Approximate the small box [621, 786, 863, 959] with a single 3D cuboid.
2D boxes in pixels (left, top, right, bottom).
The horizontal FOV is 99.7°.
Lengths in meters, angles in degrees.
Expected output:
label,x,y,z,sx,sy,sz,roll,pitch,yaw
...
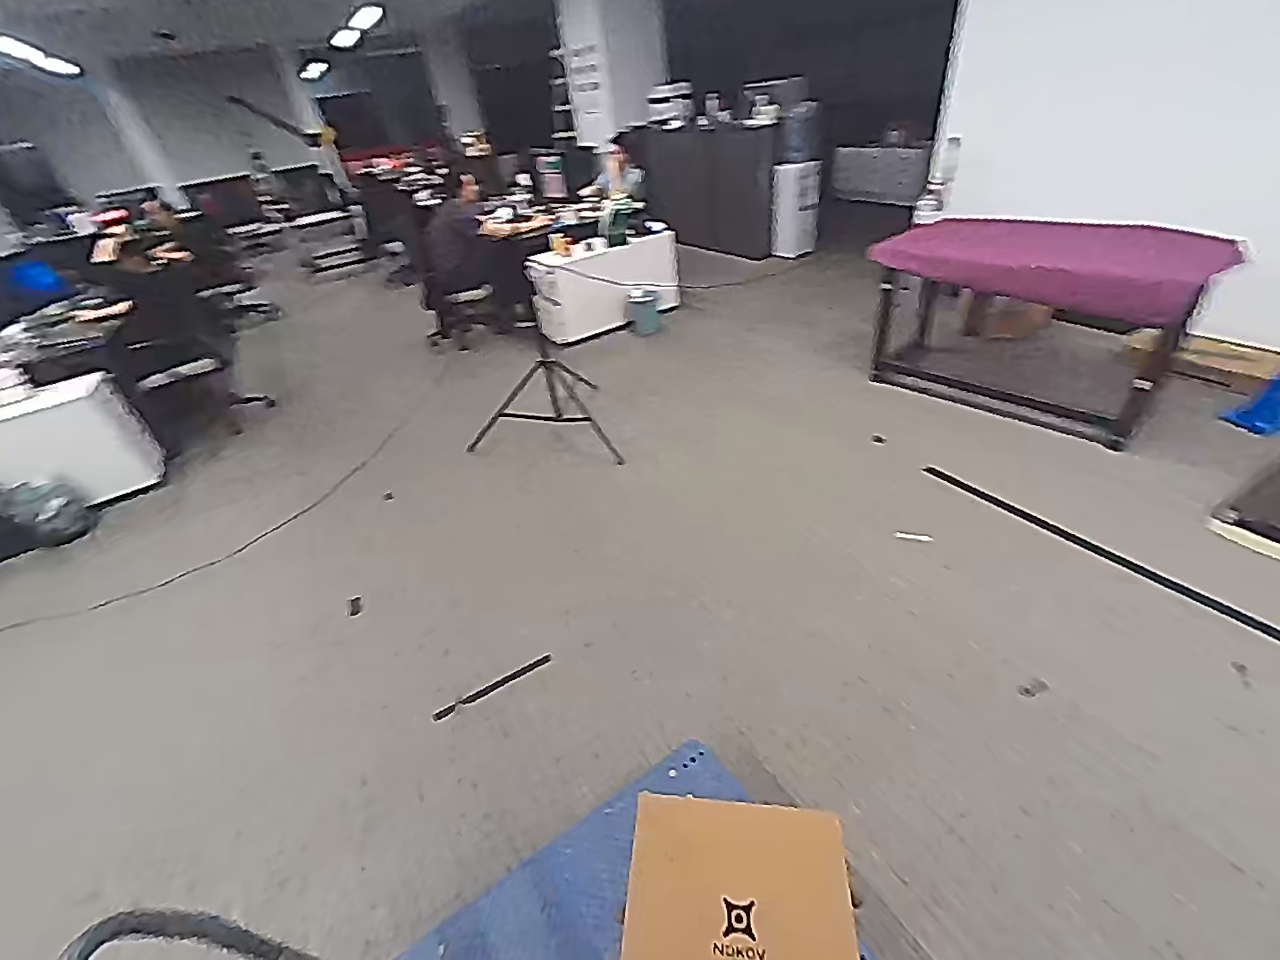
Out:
label,x,y,z,sx,sy,sz,roll,pitch,yaw
small box,0.078,0.378,0.430,0.168,0.176,0.179,0,39,10
